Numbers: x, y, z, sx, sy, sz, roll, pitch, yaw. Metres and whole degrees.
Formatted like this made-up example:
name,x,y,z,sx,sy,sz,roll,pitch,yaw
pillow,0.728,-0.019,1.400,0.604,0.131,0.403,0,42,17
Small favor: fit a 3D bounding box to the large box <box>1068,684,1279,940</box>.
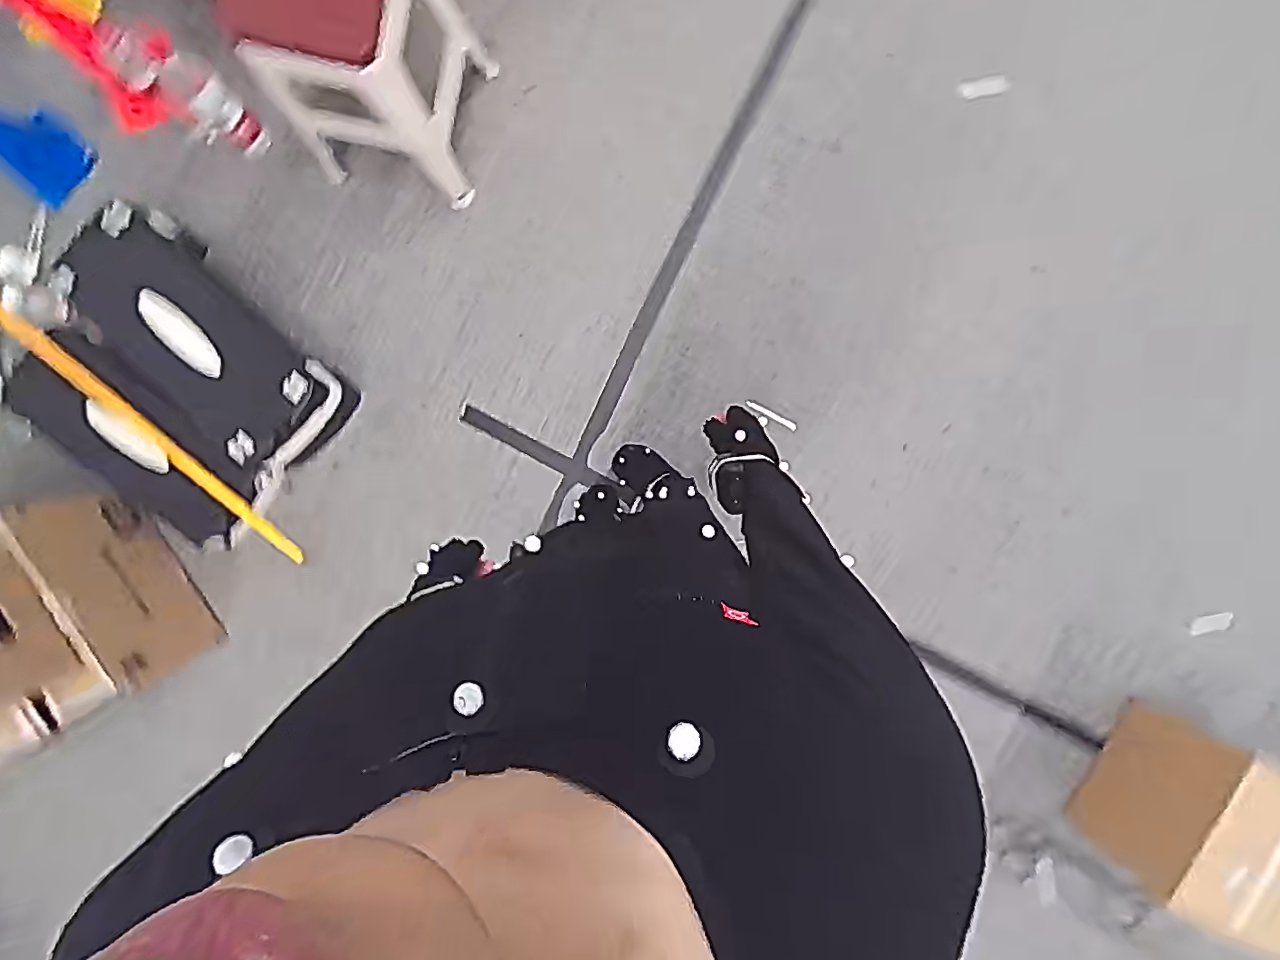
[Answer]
name,x,y,z,sx,sy,sz,roll,pitch,yaw
large box,1.431,0.815,1.382,0.320,0.320,0.408,27,94,-1
